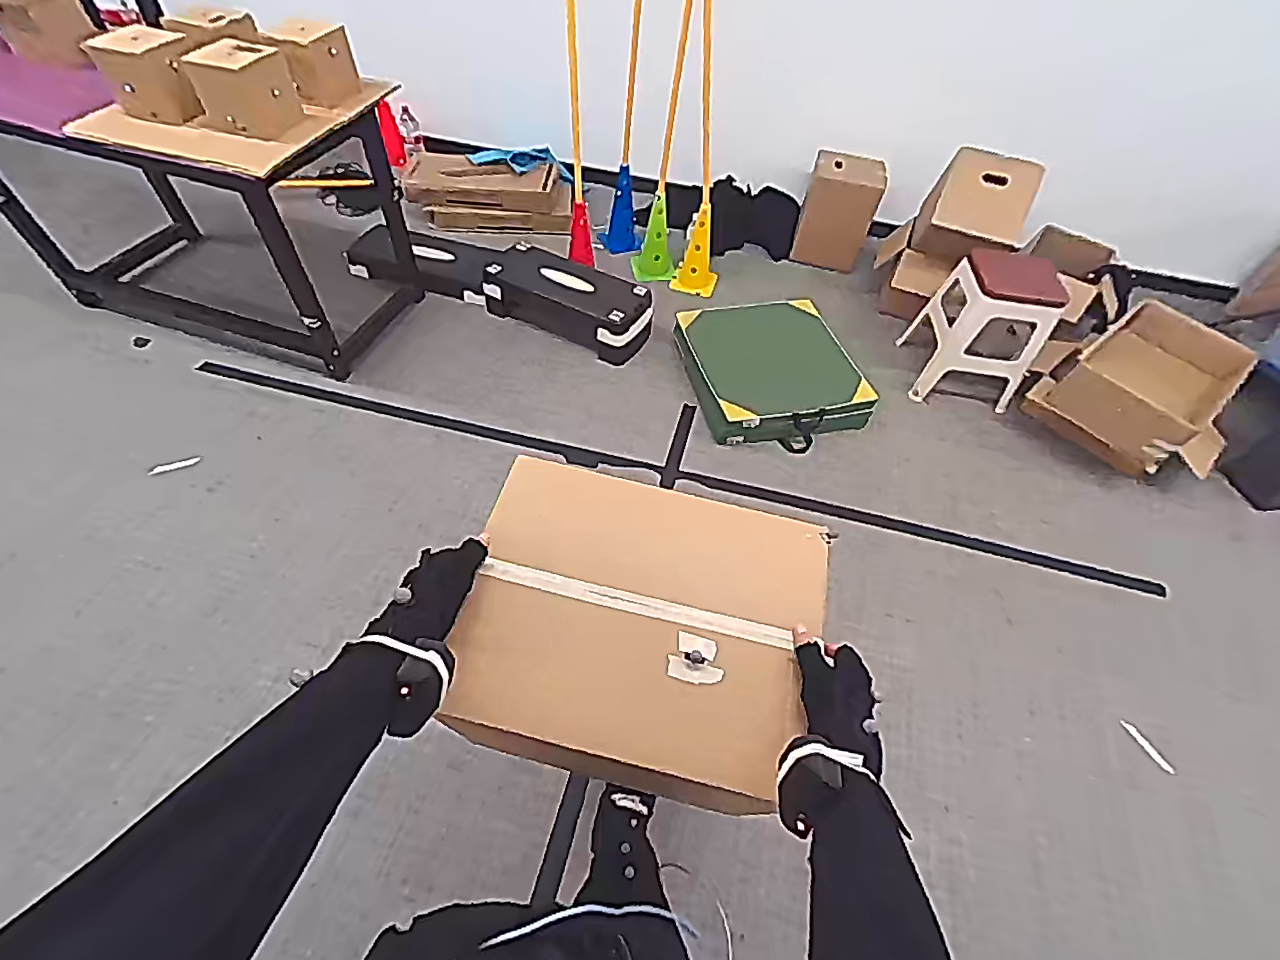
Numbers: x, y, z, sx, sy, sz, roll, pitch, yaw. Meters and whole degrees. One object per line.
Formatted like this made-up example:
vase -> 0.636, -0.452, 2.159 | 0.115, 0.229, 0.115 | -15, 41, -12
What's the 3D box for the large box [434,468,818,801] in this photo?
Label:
large box -> -0.007, 0.227, 0.755 | 0.408, 0.320, 0.320 | 13, 59, 2
